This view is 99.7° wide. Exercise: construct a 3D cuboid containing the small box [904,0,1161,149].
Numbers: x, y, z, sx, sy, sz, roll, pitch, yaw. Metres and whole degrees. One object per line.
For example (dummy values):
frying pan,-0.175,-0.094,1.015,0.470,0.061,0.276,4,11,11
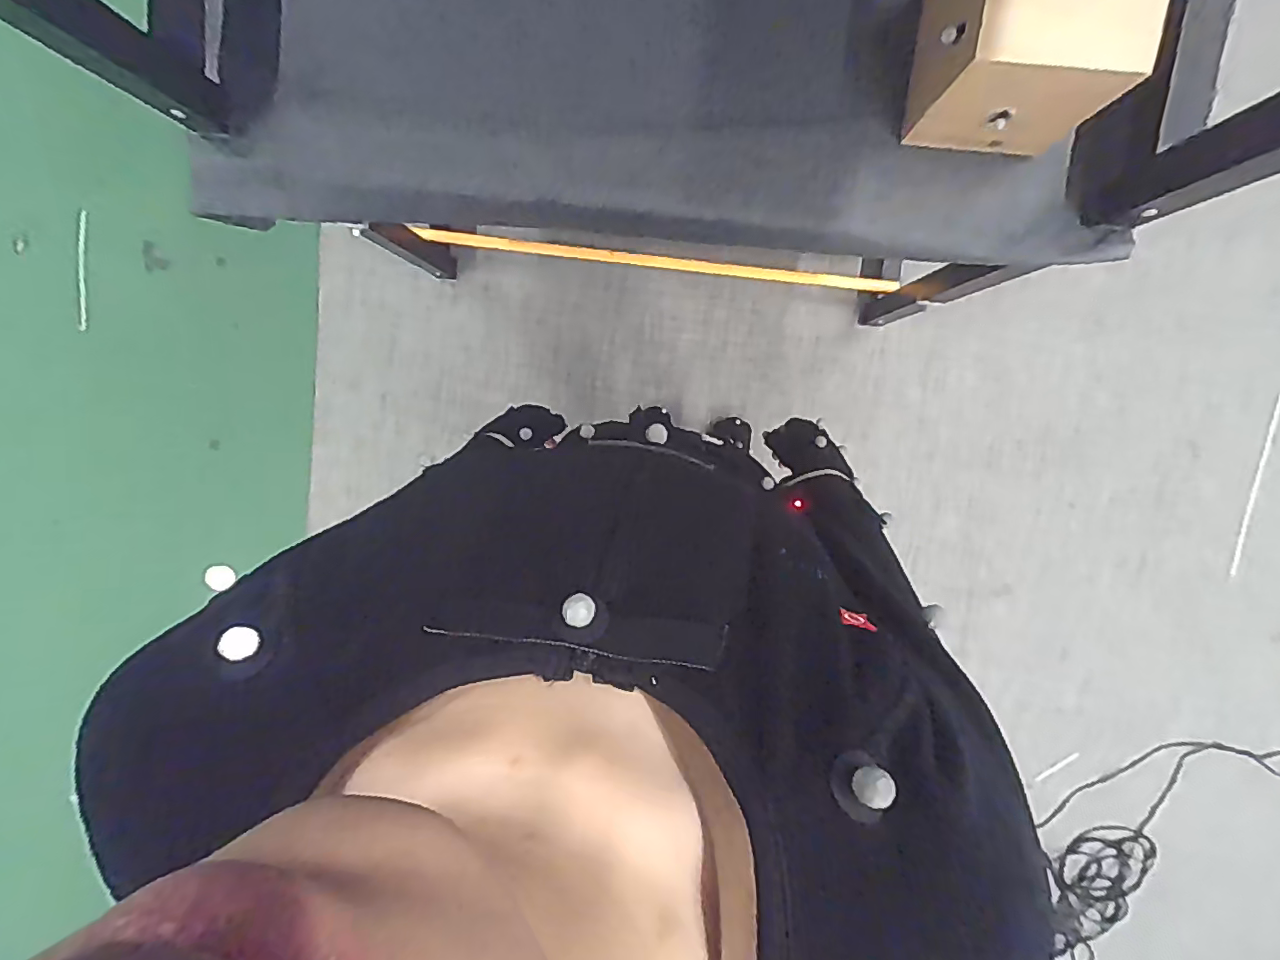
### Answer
small box,0.407,-0.486,0.579,0.168,0.176,0.179,7,97,1
